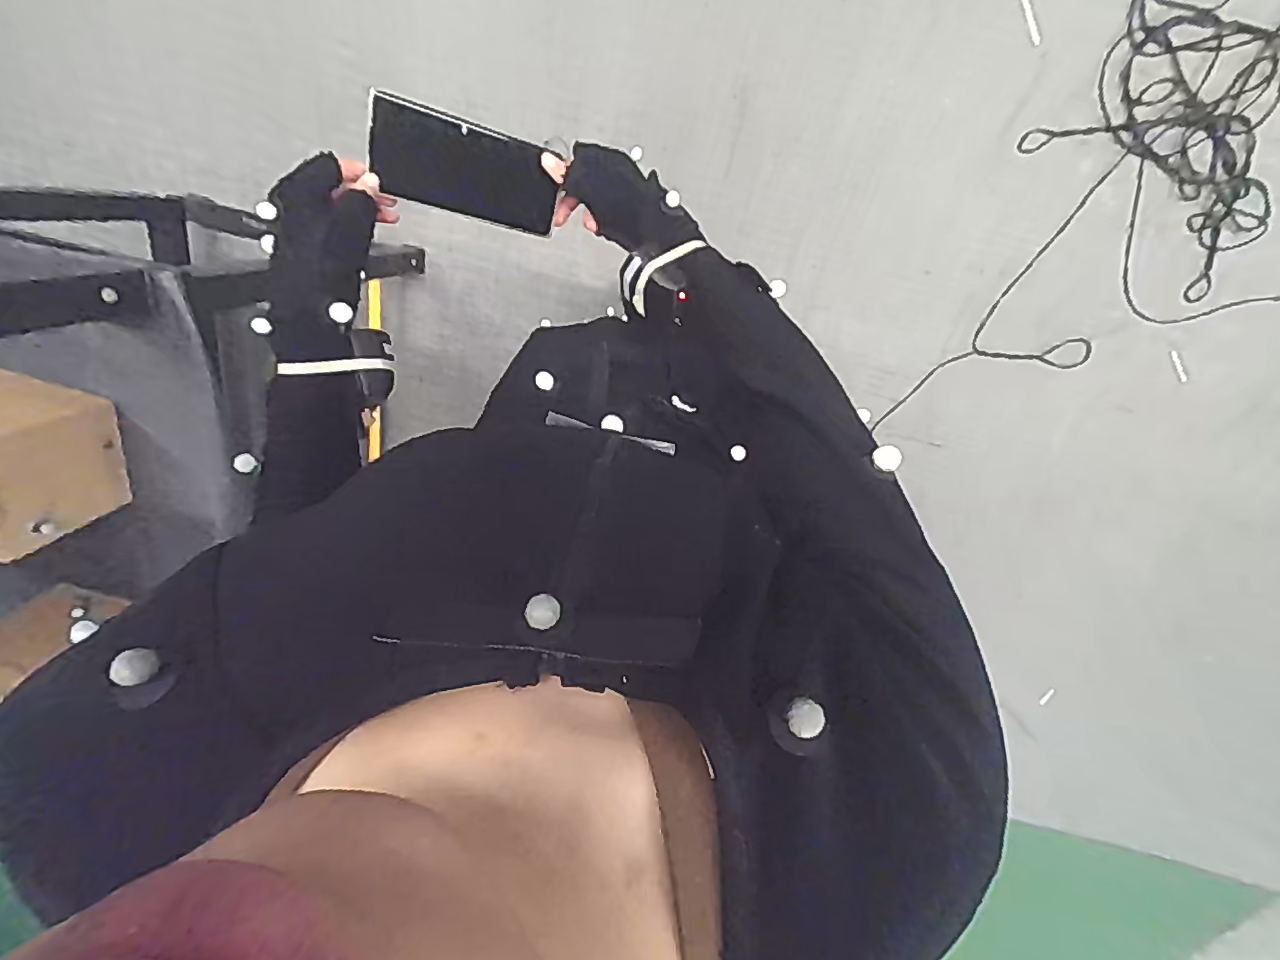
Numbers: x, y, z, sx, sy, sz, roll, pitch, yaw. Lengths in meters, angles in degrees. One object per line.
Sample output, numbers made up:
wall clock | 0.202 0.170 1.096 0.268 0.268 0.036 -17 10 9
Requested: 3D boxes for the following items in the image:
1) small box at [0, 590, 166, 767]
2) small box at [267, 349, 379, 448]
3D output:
small box | -0.899 0.306 0.852 0.168 0.176 0.179 16 115 -3
small box | -0.749 -0.201 1.292 0.179 0.176 0.168 16 115 -4
